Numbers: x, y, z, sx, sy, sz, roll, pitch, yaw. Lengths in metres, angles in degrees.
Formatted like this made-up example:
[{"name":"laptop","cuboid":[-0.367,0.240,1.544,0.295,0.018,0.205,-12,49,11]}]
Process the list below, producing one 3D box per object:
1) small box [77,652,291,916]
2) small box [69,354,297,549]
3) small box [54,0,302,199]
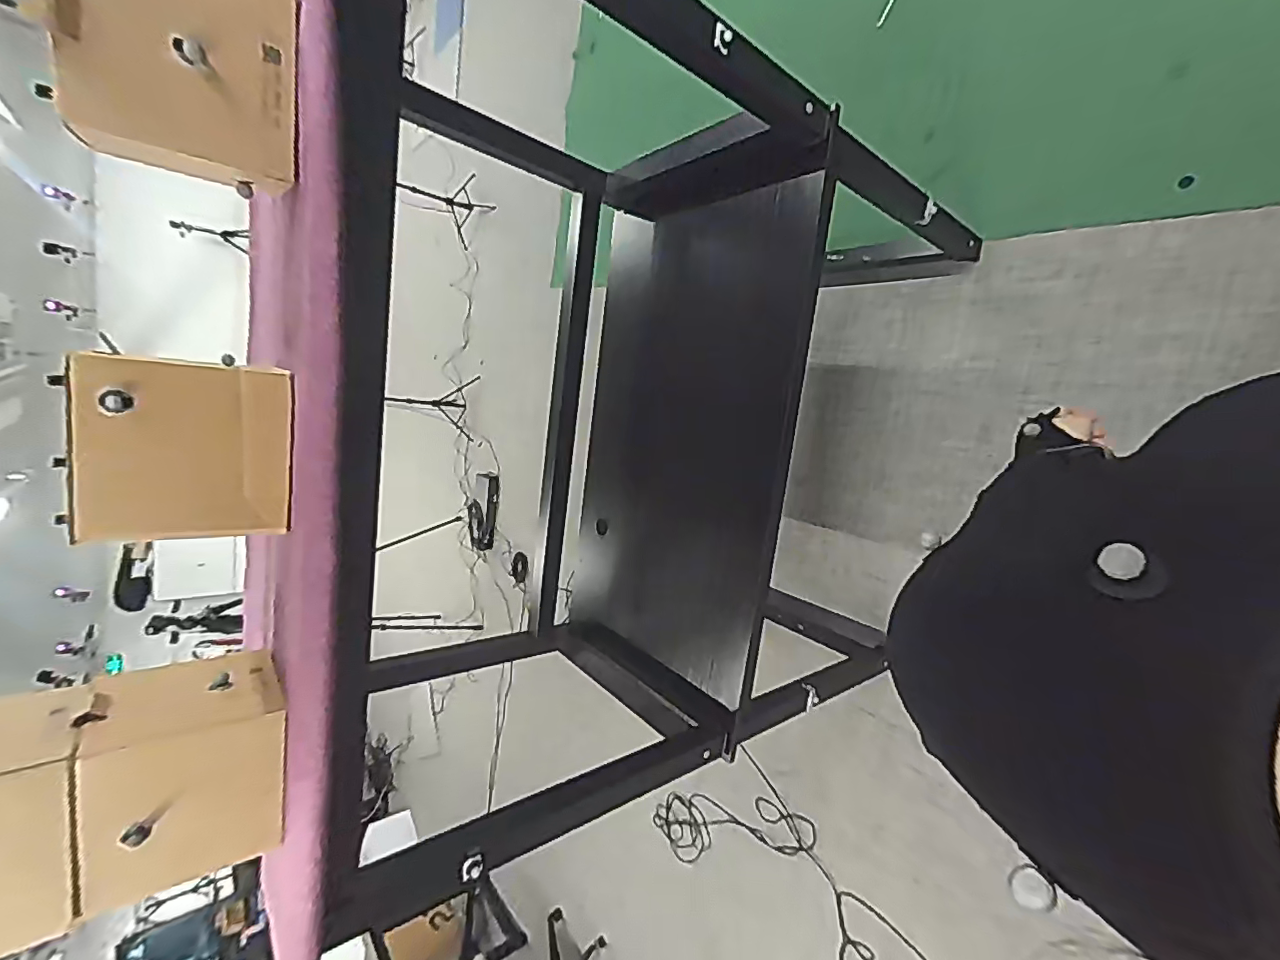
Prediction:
[{"name":"small box","cuboid":[-0.509,0.323,0.620,0.168,0.176,0.179,15,101,48]},{"name":"small box","cuboid":[-0.477,-0.037,0.586,0.168,0.176,0.179,17,103,51]},{"name":"small box","cuboid":[-0.440,-0.393,0.534,0.179,0.176,0.168,28,112,49]}]
